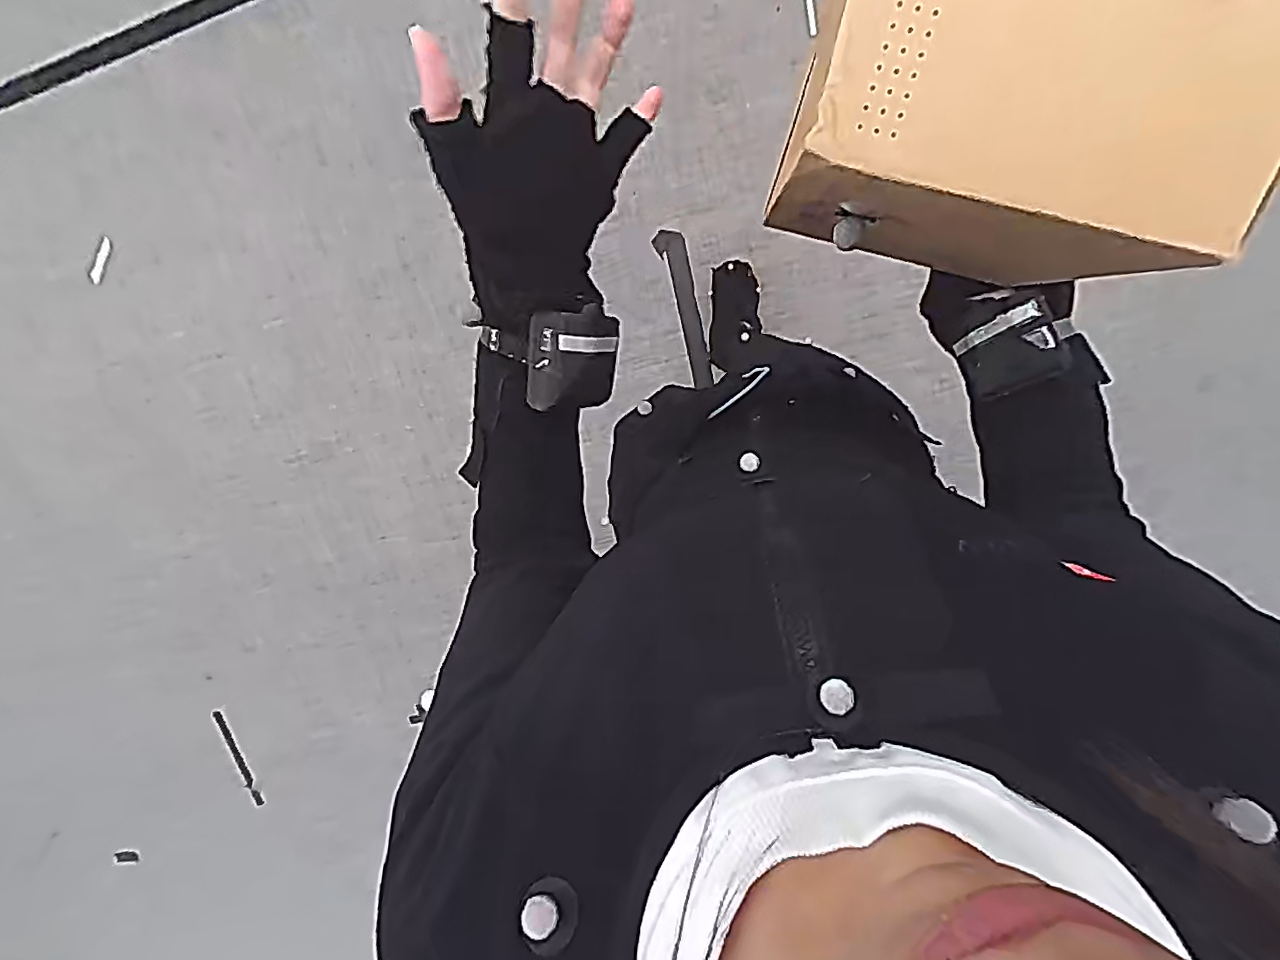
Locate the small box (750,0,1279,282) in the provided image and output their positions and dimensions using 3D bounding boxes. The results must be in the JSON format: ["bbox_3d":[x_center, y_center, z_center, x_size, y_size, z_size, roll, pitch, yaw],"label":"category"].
[{"bbox_3d":[0.163,-0.212,0.264,0.176,0.168,0.179,16,108,4],"label":"small box"}]
